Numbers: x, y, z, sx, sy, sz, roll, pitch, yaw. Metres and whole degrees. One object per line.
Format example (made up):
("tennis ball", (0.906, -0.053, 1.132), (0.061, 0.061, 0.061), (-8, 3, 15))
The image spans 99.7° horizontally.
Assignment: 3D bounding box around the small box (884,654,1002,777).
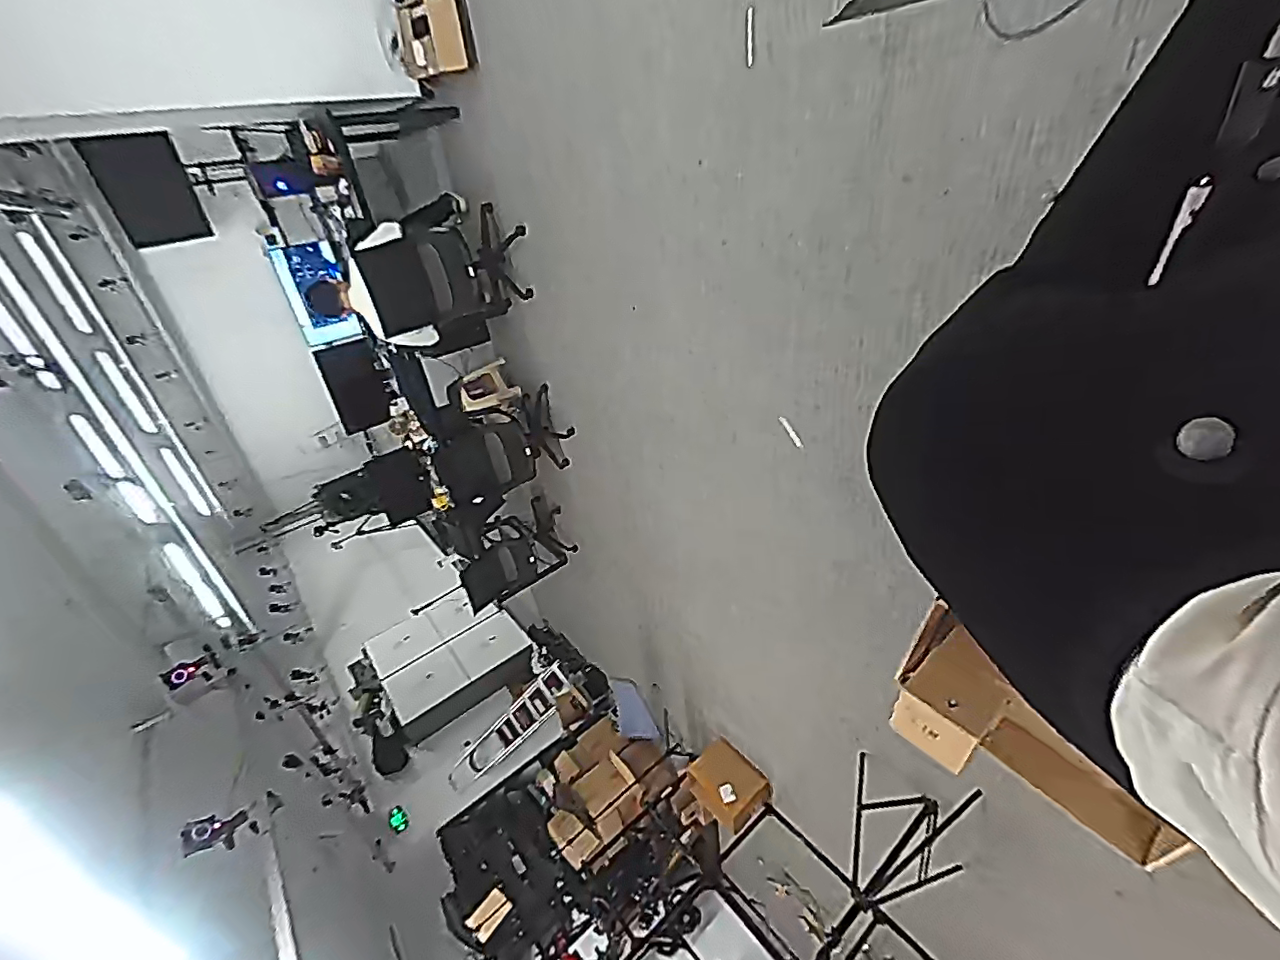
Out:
("small box", (0.728, 0.558, 1.301), (0.179, 0.176, 0.168), (34, 141, 40))
